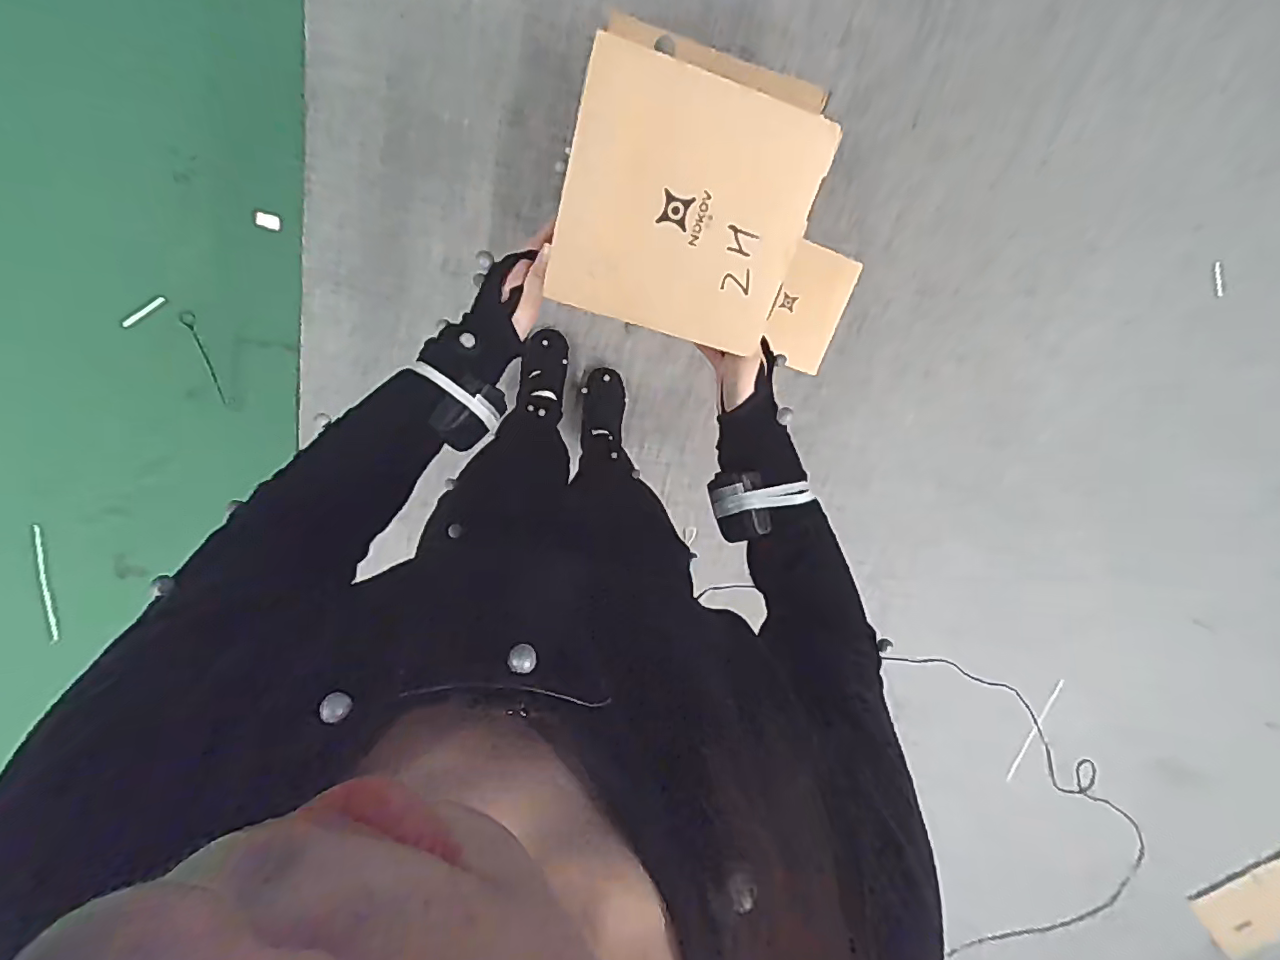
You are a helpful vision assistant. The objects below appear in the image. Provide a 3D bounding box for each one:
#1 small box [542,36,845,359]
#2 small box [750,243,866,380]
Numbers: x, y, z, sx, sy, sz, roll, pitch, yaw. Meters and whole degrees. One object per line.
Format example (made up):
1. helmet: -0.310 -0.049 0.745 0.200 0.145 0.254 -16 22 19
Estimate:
1. small box: 0.028 -0.223 0.454 0.179 0.176 0.168 14 116 -12
2. small box: 0.199 -0.270 0.829 0.179 0.176 0.168 17 107 -11
